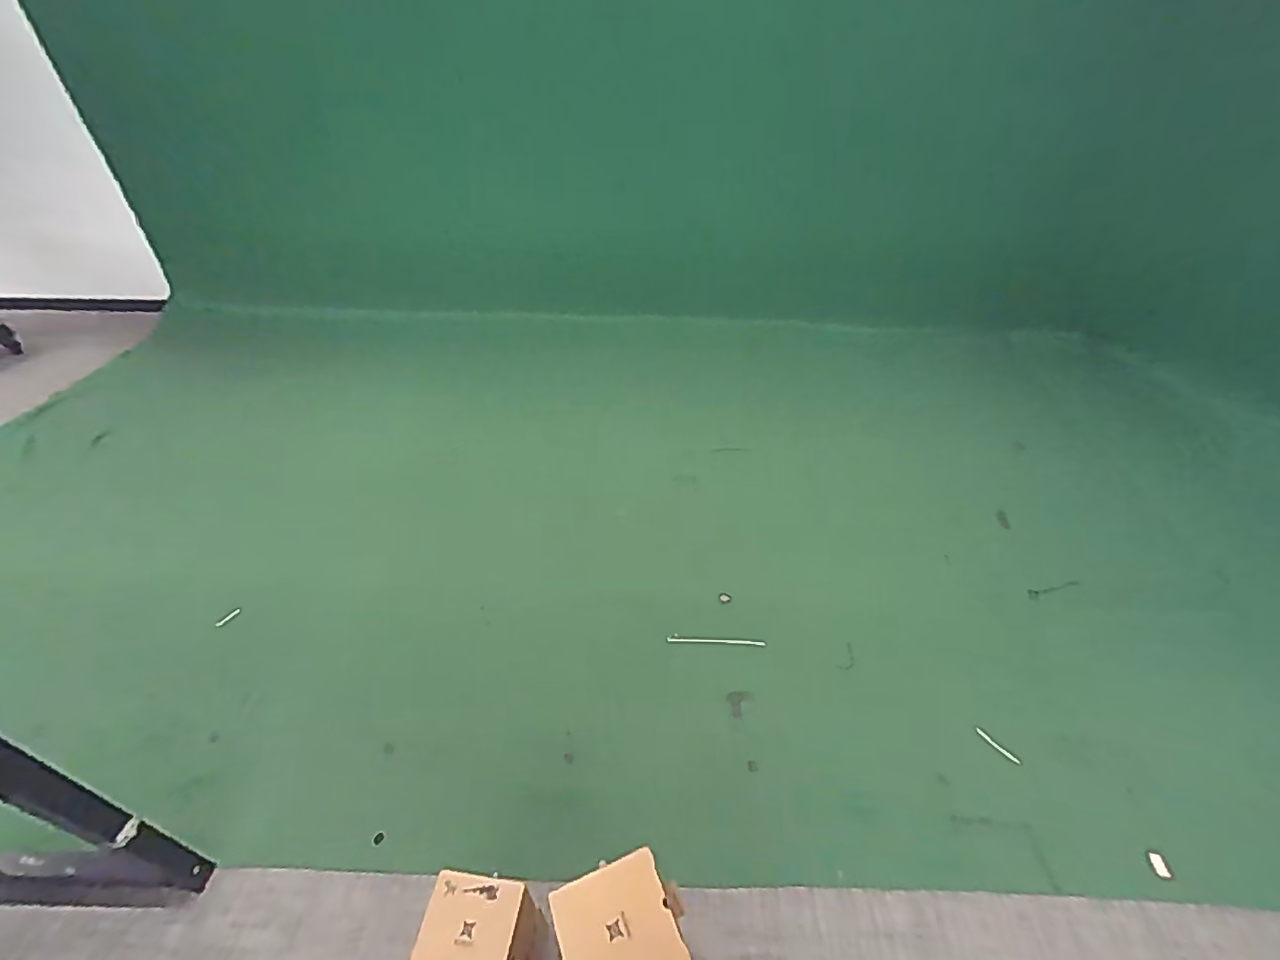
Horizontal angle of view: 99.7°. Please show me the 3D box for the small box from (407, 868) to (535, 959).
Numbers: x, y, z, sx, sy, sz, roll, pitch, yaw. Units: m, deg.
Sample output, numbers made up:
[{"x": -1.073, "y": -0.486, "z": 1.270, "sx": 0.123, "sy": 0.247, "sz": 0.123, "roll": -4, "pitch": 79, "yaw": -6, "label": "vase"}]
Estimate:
[{"x": -0.298, "y": 0.837, "z": 0.972, "sx": 0.168, "sy": 0.176, "sz": 0.179, "roll": 5, "pitch": 41, "yaw": 7, "label": "small box"}]

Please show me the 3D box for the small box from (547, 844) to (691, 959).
[{"x": -0.034, "y": 0.727, "z": 0.857, "sx": 0.179, "sy": 0.176, "sz": 0.168, "roll": -15, "pitch": 44, "yaw": -18, "label": "small box"}]
